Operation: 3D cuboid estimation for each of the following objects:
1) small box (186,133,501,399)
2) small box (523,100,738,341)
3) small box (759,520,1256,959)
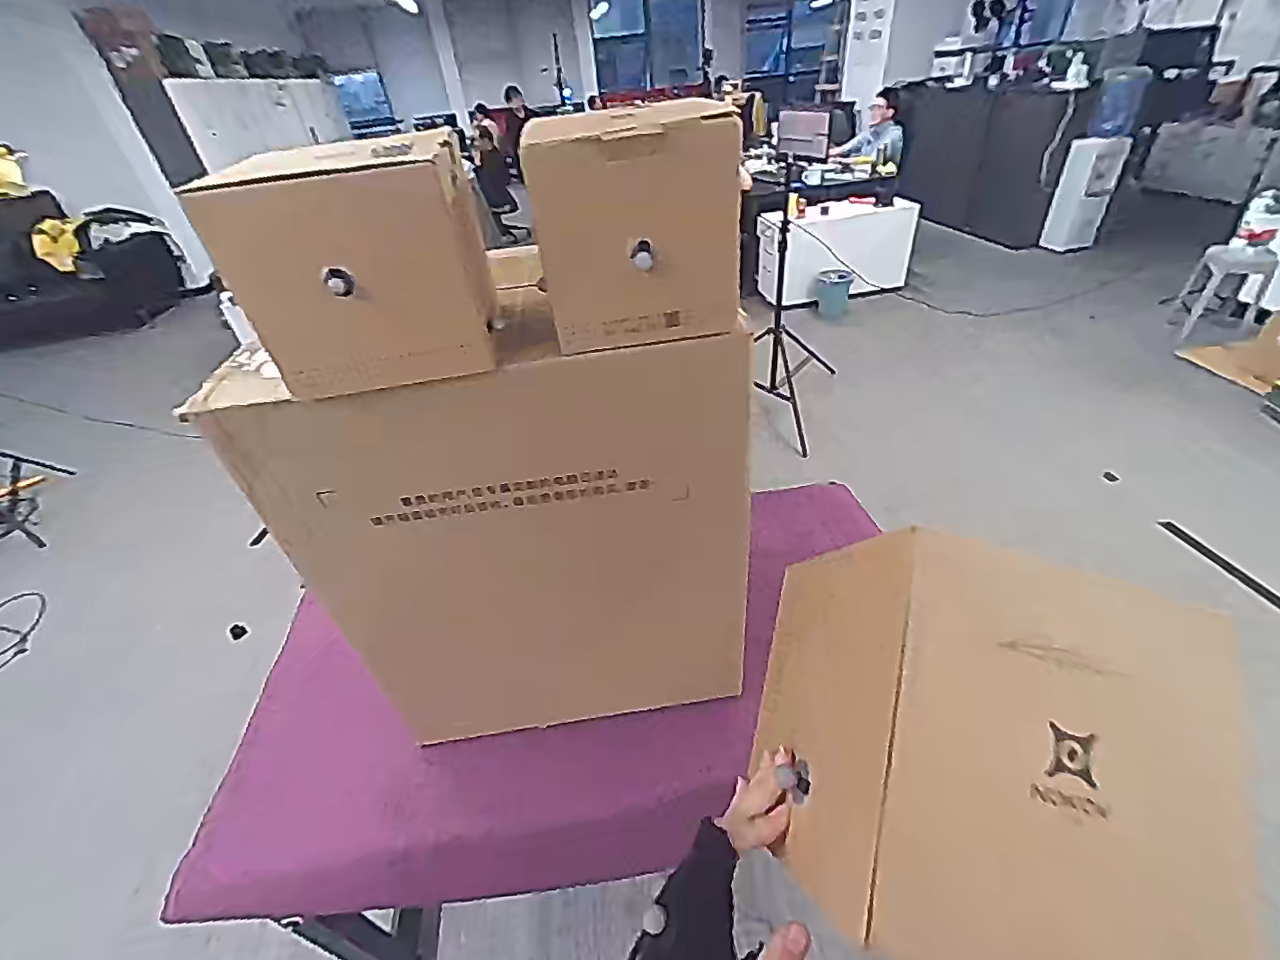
[{"bbox_3d":[-0.230,-0.193,0.485,0.179,0.176,0.168,-11,38,-4],"label":"small box"},{"bbox_3d":[-0.006,-0.240,0.511,0.168,0.176,0.179,-8,39,-2],"label":"small box"},{"bbox_3d":[0.182,0.146,0.318,0.168,0.176,0.179,17,69,-1],"label":"small box"}]
